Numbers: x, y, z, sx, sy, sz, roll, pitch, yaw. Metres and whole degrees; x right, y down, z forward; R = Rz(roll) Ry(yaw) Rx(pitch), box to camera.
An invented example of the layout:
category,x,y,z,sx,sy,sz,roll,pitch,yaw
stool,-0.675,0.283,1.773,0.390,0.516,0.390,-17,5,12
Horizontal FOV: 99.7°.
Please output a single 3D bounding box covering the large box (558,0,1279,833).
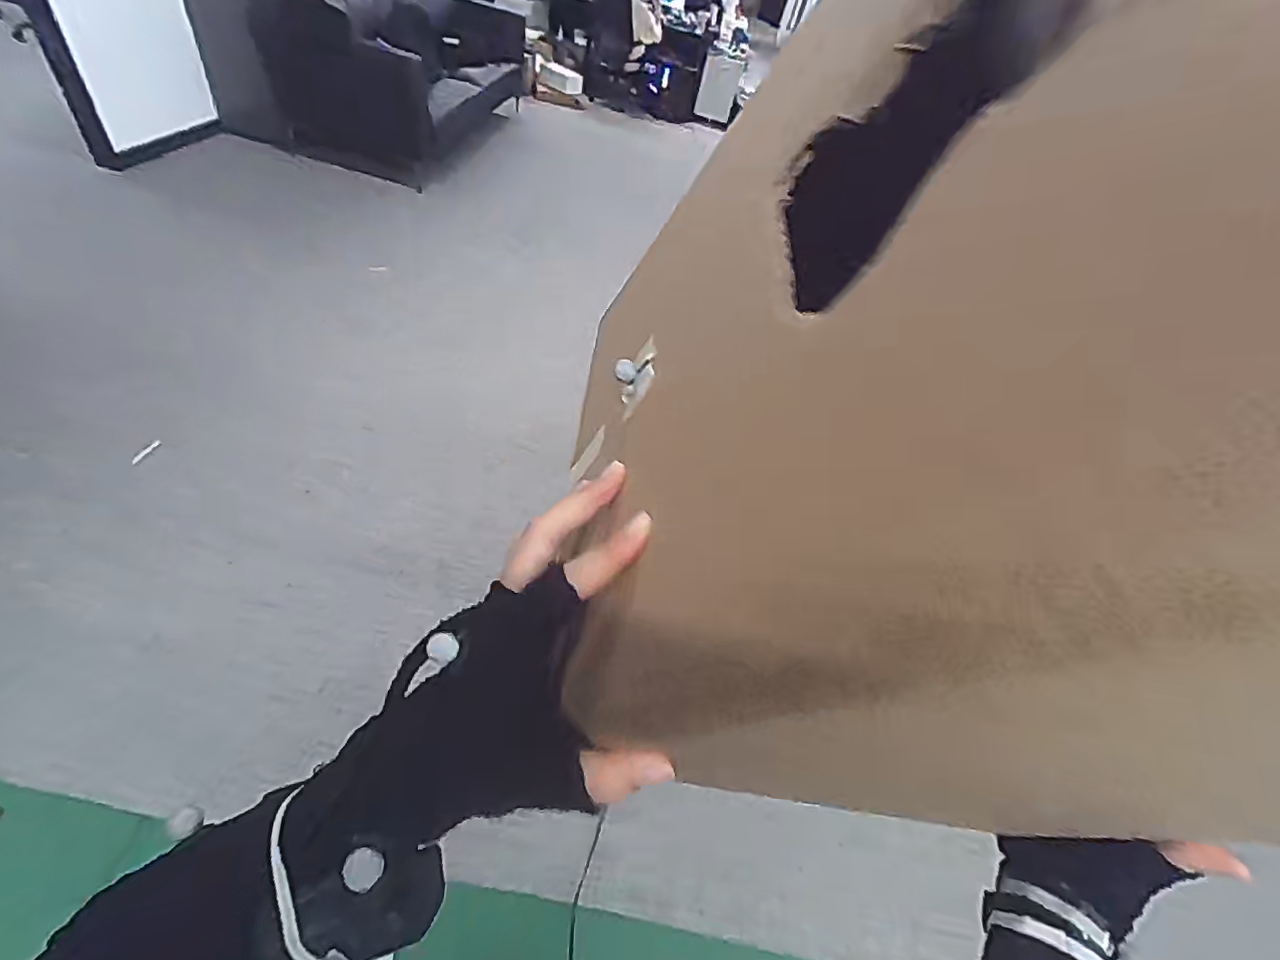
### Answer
category,x,y,z,sx,sy,sz,roll,pitch,yaw
large box,0.209,0.012,0.316,0.408,0.320,0.320,23,54,-24
